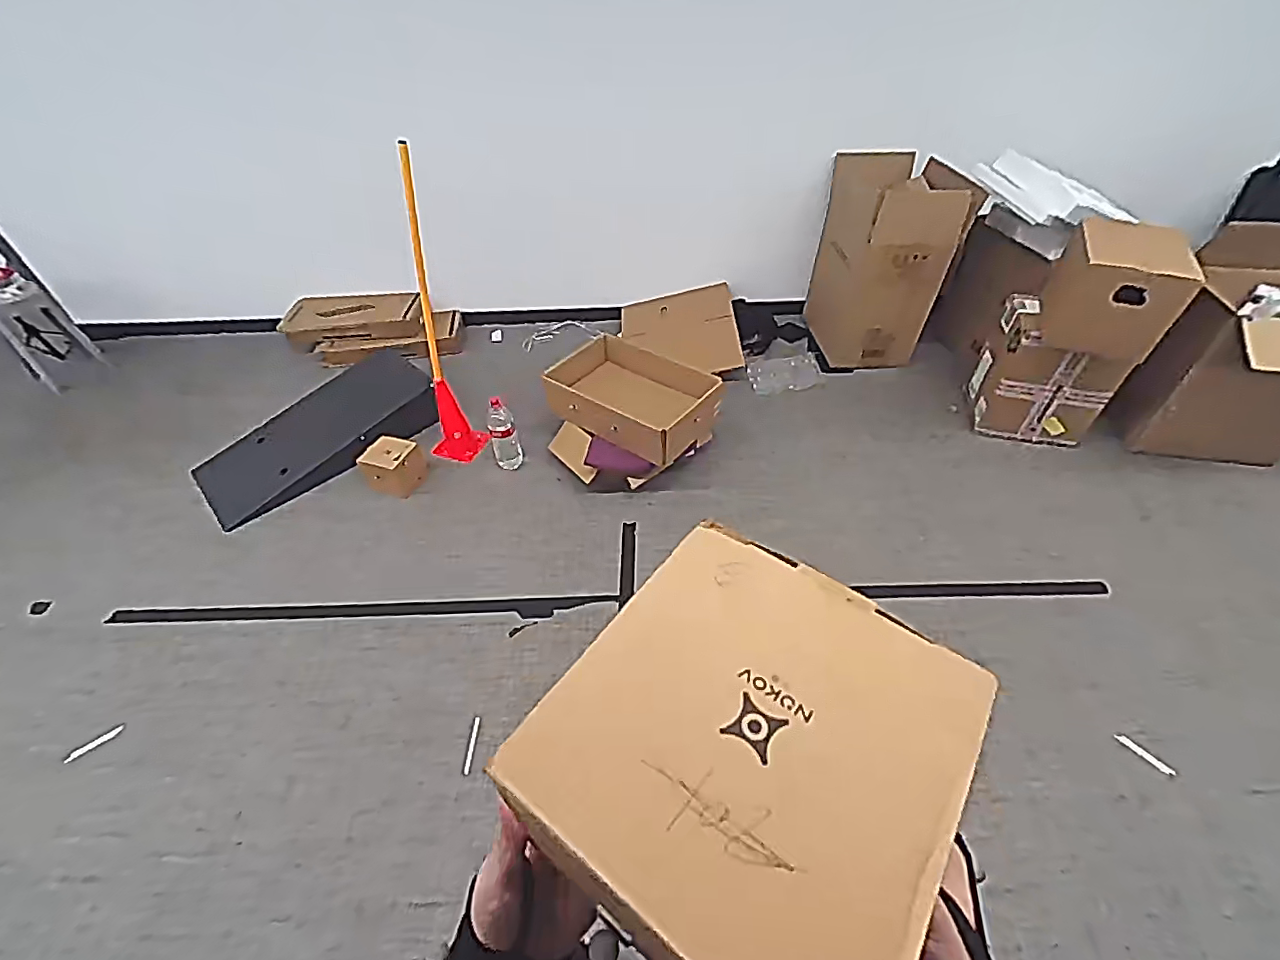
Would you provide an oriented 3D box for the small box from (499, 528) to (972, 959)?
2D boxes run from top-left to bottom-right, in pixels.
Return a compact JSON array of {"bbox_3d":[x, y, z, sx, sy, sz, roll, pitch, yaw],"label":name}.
[{"bbox_3d":[0.049,0.168,0.310,0.168,0.176,0.179,29,53,24],"label":"small box"}]
